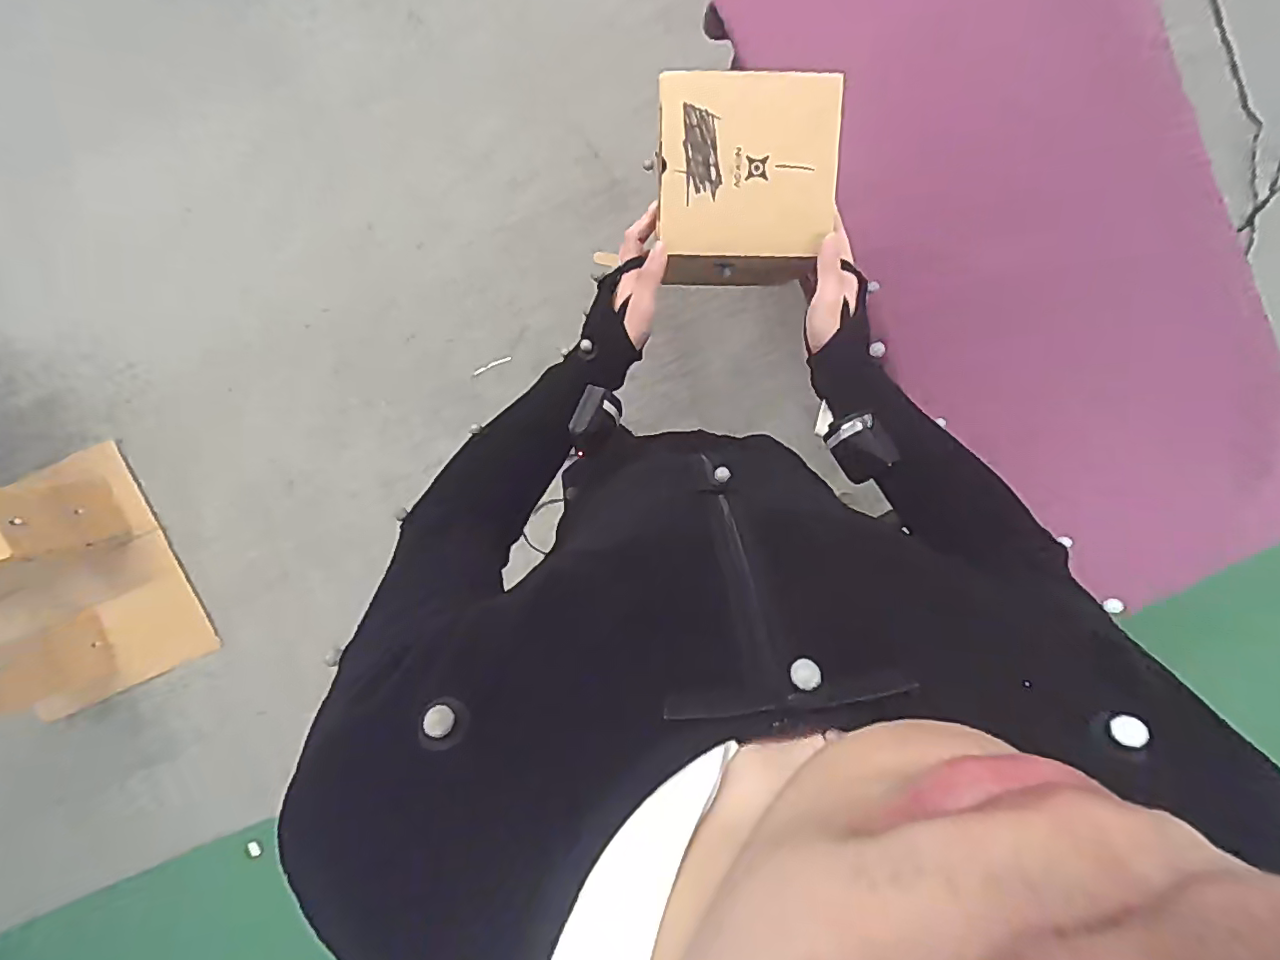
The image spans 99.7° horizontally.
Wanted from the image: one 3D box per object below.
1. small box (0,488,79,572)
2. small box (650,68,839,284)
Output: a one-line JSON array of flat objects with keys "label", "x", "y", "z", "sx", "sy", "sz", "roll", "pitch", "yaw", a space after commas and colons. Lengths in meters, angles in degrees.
[{"label": "small box", "x": -1.589, "y": 0.128, "z": 1.348, "sx": 0.168, "sy": 0.176, "sz": 0.179, "roll": -24, "pitch": 96, "yaw": 0}, {"label": "small box", "x": 0.100, "y": -0.318, "z": 0.599, "sx": 0.179, "sy": 0.176, "sz": 0.168, "roll": 0, "pitch": 100, "yaw": -1}]
